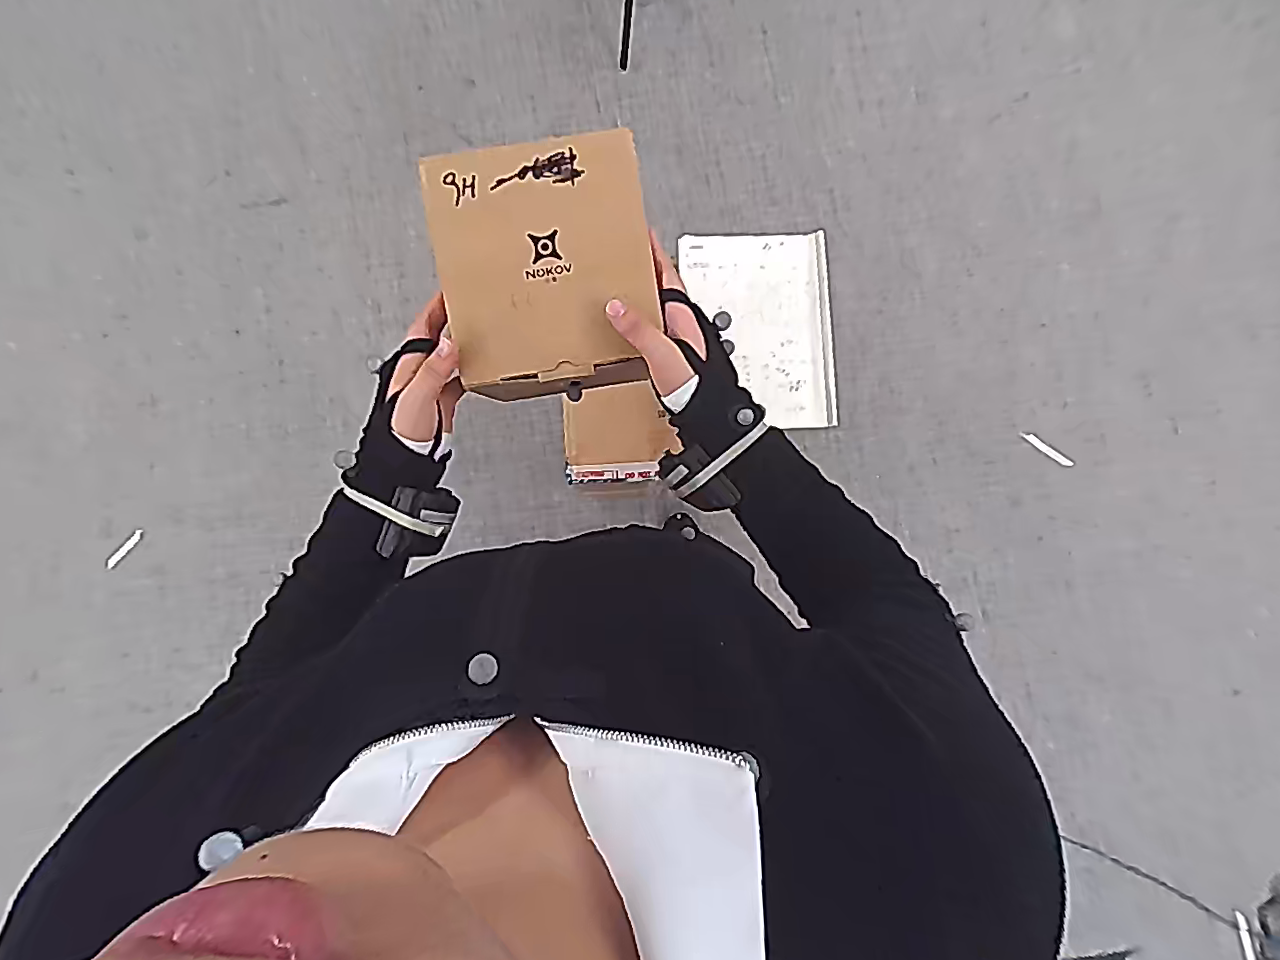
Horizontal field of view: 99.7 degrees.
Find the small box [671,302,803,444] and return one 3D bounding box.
[{"bbox_3d":[0.138,-0.154,0.825,0.168,0.176,0.179,-2,86,-2],"label":"small box"}]

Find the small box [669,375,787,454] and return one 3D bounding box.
[{"bbox_3d":[0.152,-0.144,0.990,0.179,0.176,0.168,-6,85,-2],"label":"small box"}]
